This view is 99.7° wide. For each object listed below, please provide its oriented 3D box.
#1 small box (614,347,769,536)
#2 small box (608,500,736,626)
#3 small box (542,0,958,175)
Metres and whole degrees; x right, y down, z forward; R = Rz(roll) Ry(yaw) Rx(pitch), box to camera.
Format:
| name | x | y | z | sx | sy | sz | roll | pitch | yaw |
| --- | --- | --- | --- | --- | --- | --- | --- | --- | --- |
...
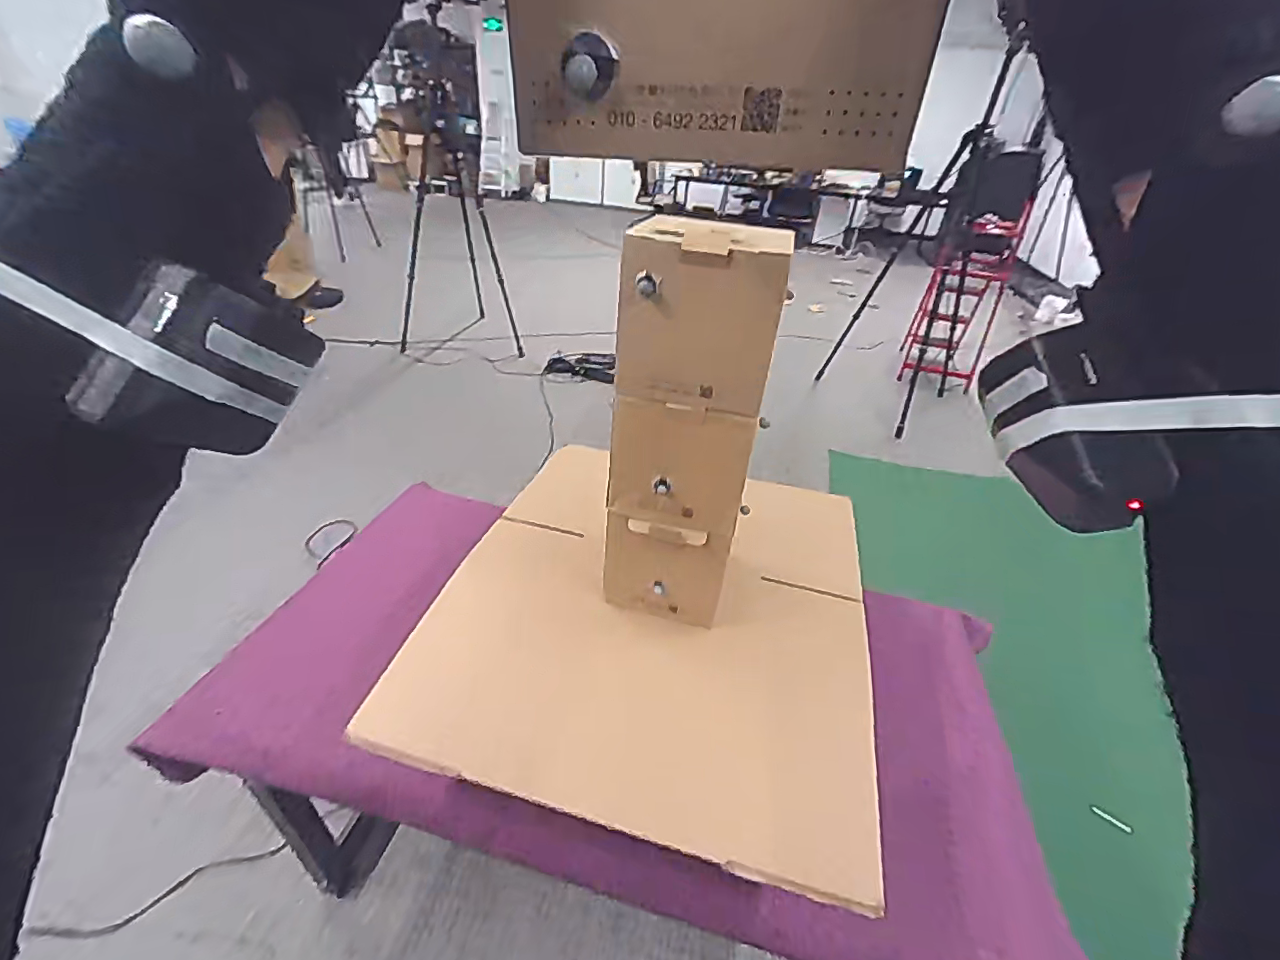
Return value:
| name | x | y | z | sx | sy | sz | roll | pitch | yaw |
| --- | --- | --- | --- | --- | --- | --- | --- | --- | --- |
| small box | 0.067 | -0.055 | 0.711 | 0.168 | 0.176 | 0.179 | 12 | 34 | 8 |
| small box | 0.053 | 0.081 | 0.800 | 0.168 | 0.176 | 0.179 | 12 | 34 | 10 |
| small box | 0.049 | -0.251 | 0.253 | 0.168 | 0.176 | 0.179 | 5 | 38 | 4 |
